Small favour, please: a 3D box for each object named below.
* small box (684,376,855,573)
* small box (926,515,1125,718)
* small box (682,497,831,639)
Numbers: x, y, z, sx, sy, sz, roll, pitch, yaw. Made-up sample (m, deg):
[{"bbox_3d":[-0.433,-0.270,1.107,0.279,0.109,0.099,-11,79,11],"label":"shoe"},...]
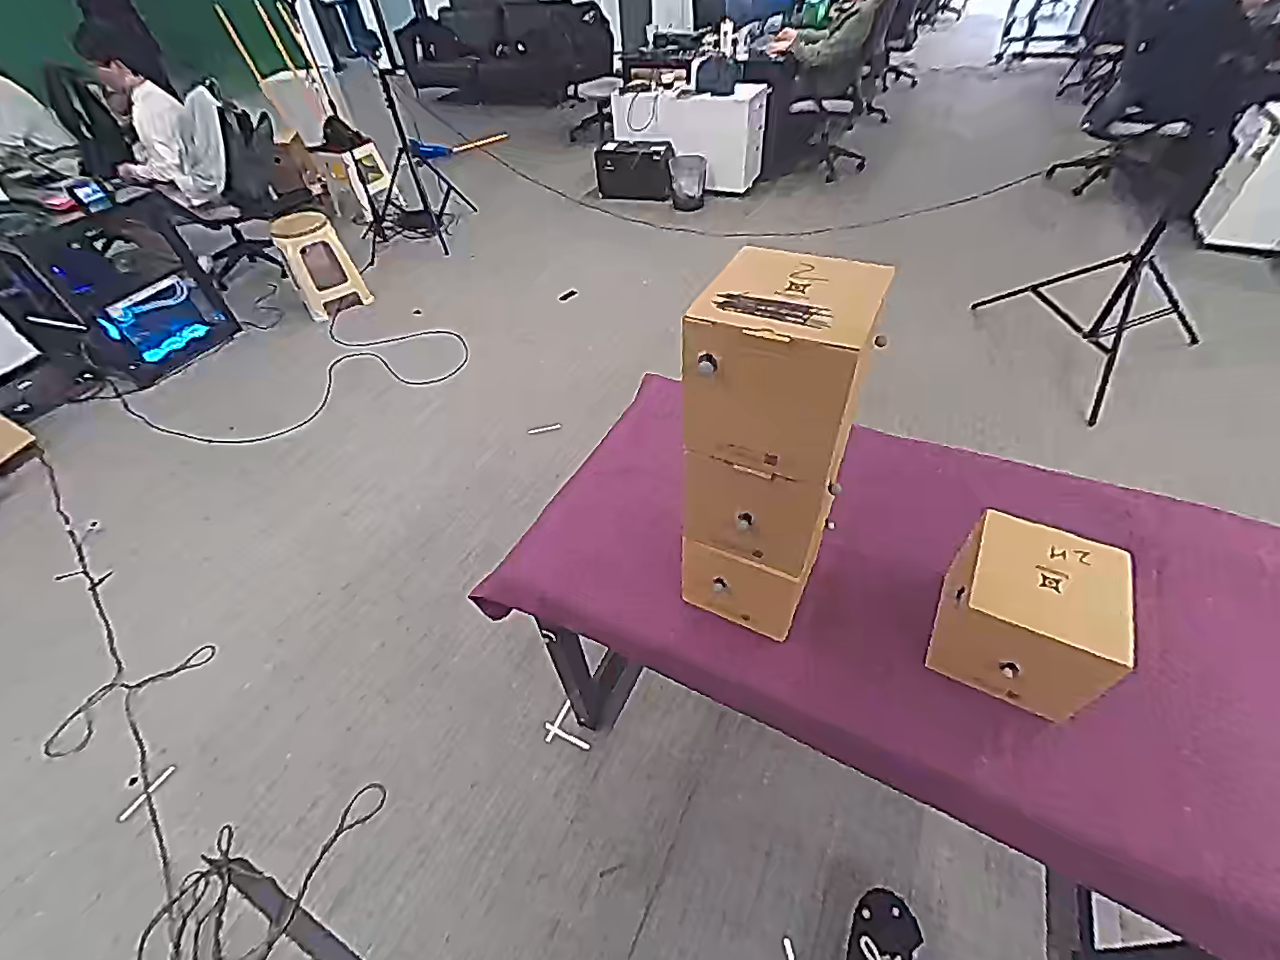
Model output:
[{"bbox_3d":[0.167,-0.007,0.715,0.168,0.176,0.179,18,50,19],"label":"small box"},{"bbox_3d":[0.508,0.185,0.730,0.168,0.176,0.179,21,51,22],"label":"small box"},{"bbox_3d":[0.175,0.112,0.828,0.168,0.176,0.179,19,50,21],"label":"small box"}]
